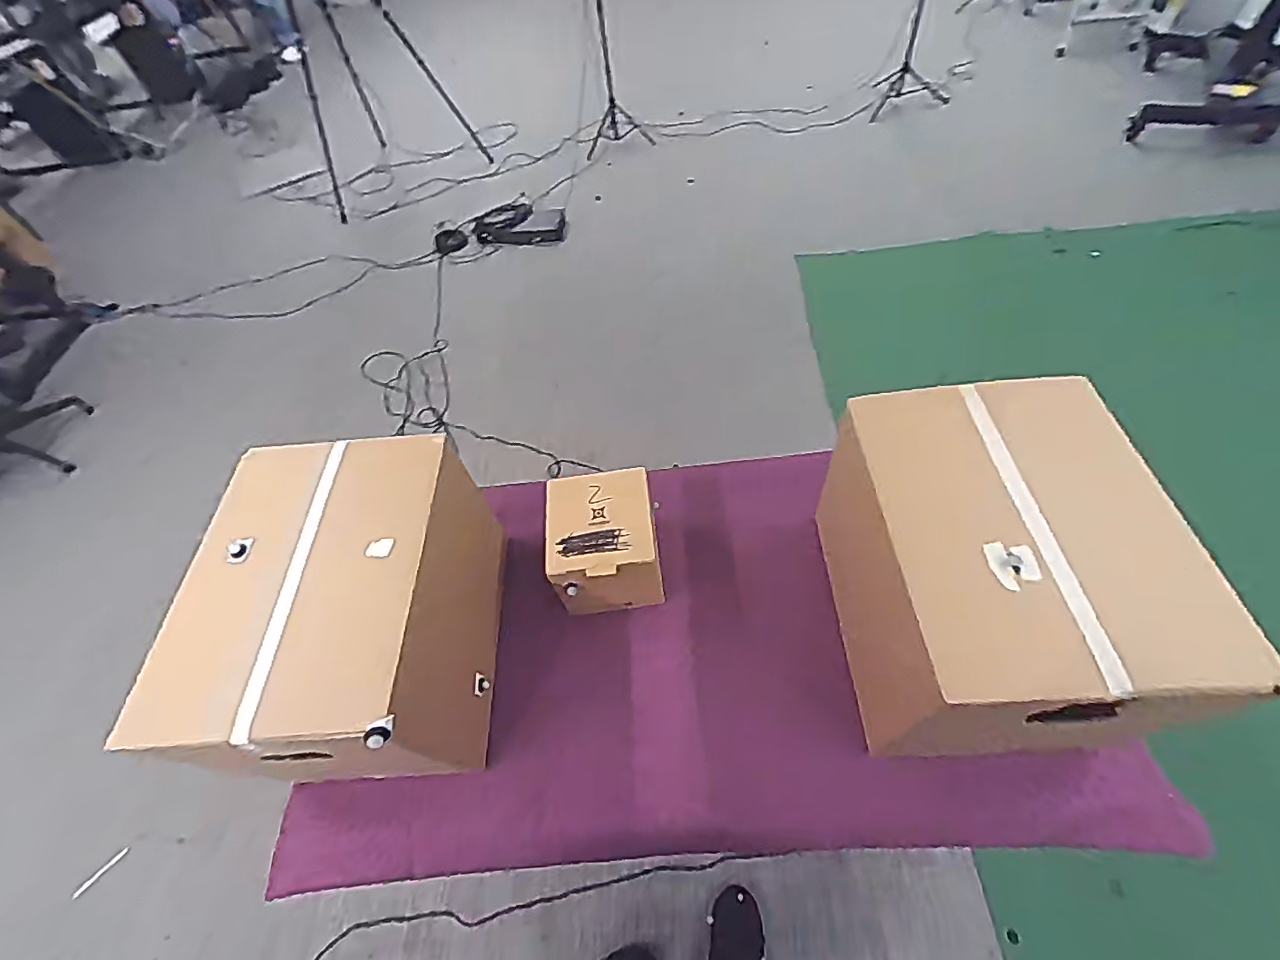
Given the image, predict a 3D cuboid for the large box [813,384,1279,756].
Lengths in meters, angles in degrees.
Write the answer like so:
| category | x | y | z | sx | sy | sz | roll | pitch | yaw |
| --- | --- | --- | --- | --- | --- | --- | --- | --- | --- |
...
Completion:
| category | x | y | z | sx | sy | sz | roll | pitch | yaw |
| --- | --- | --- | --- | --- | --- | --- | --- | --- | --- |
| large box | 0.457 | 0.129 | 0.740 | 0.320 | 0.320 | 0.408 | -5 | 55 | 5 |
